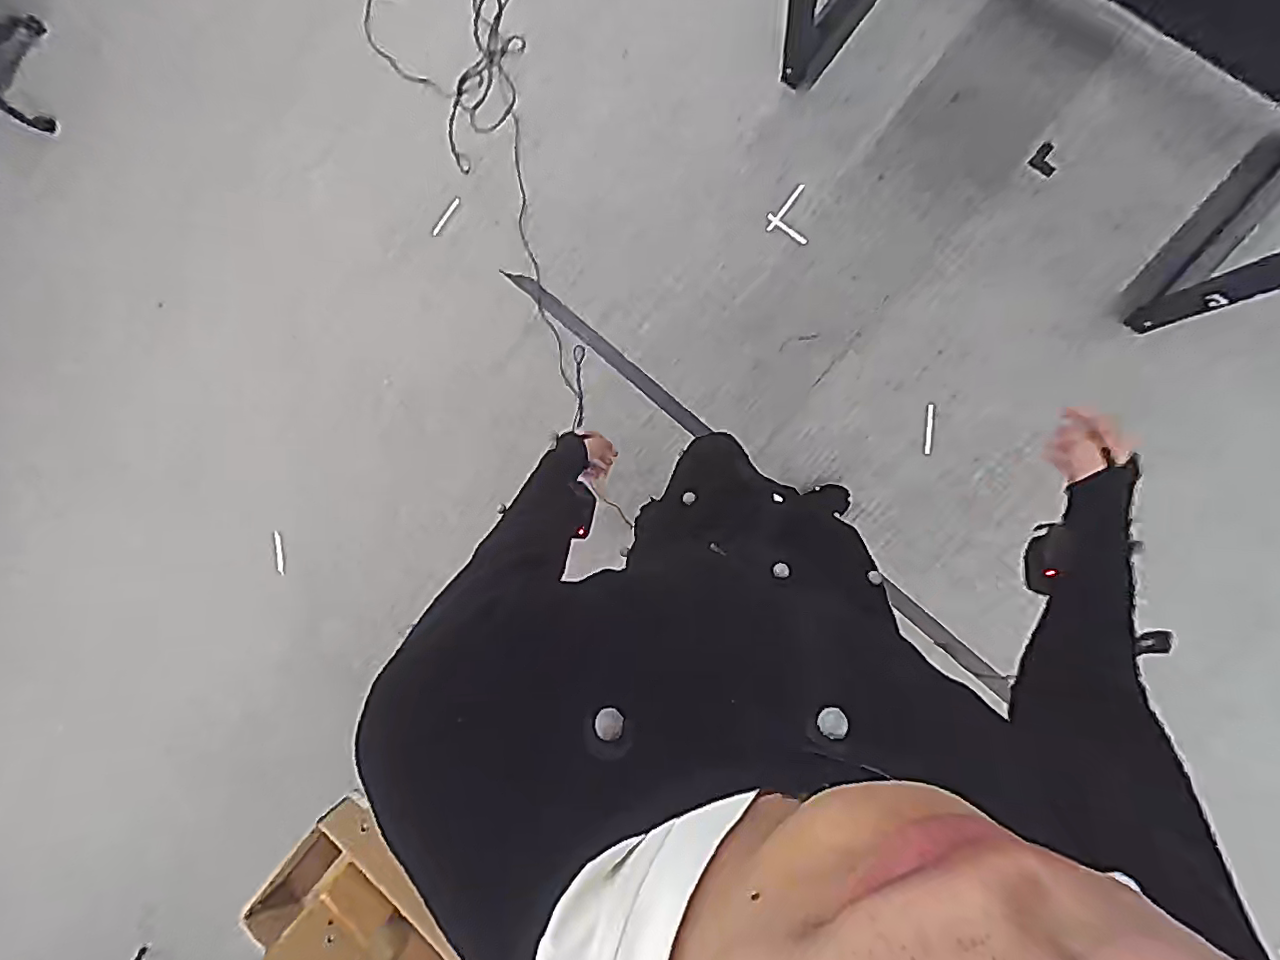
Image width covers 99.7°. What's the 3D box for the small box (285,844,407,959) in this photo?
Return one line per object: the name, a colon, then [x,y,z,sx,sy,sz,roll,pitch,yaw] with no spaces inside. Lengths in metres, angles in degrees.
small box: [-0.734,1.085,1.368,0.168,0.176,0.179,43,99,5]
